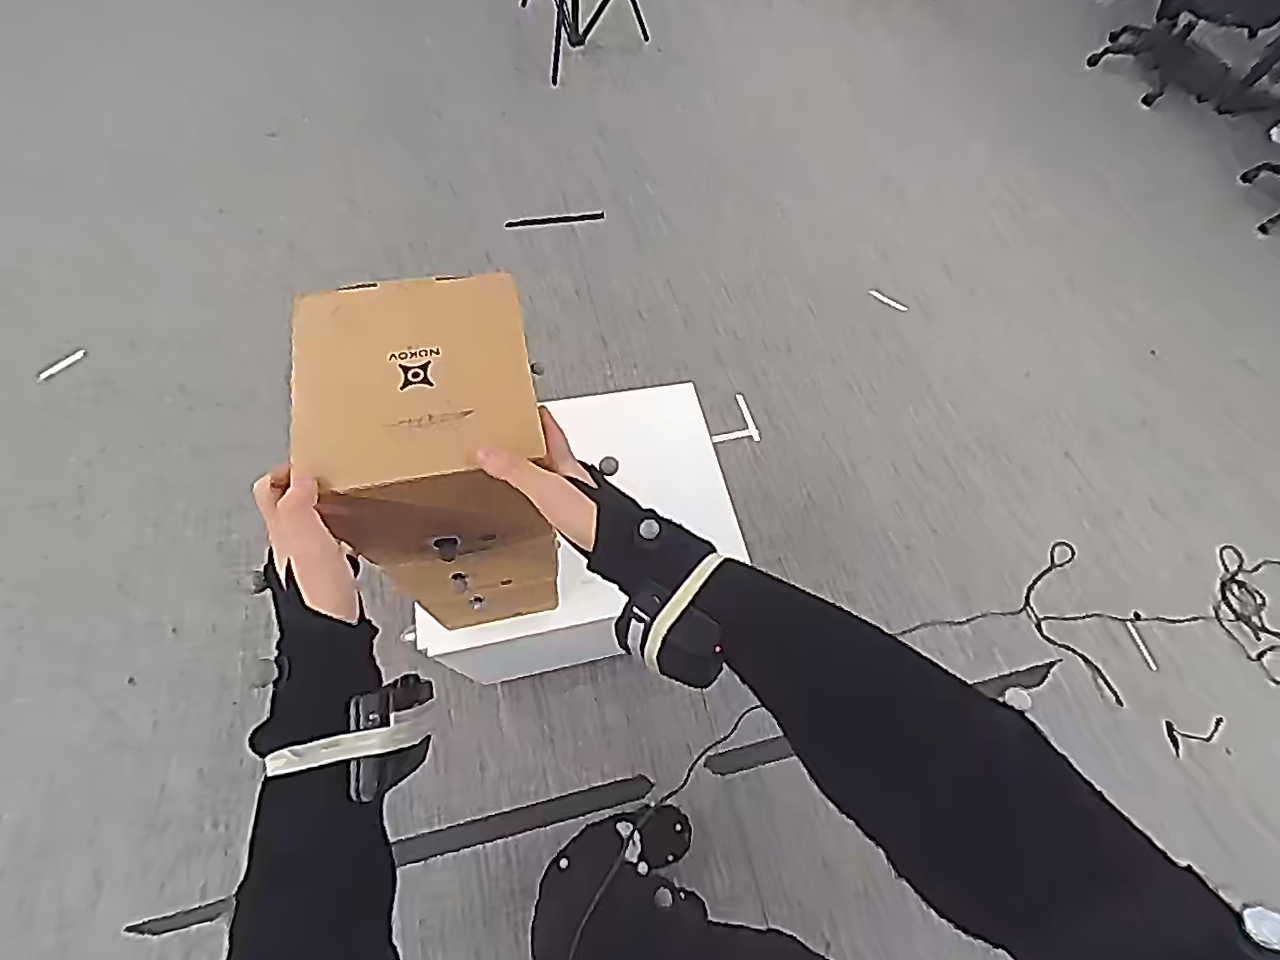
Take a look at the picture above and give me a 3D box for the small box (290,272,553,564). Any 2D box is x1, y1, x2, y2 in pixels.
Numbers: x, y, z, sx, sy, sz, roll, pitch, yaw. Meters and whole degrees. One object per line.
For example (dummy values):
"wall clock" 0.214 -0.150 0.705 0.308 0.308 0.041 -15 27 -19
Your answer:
"small box" -0.170 -0.045 0.460 0.168 0.176 0.179 -10 68 -11

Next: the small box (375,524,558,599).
"small box" -0.188 0.025 0.606 0.168 0.176 0.179 -10 67 -12

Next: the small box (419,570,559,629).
"small box" -0.207 0.092 0.754 0.168 0.176 0.179 -9 66 -12
